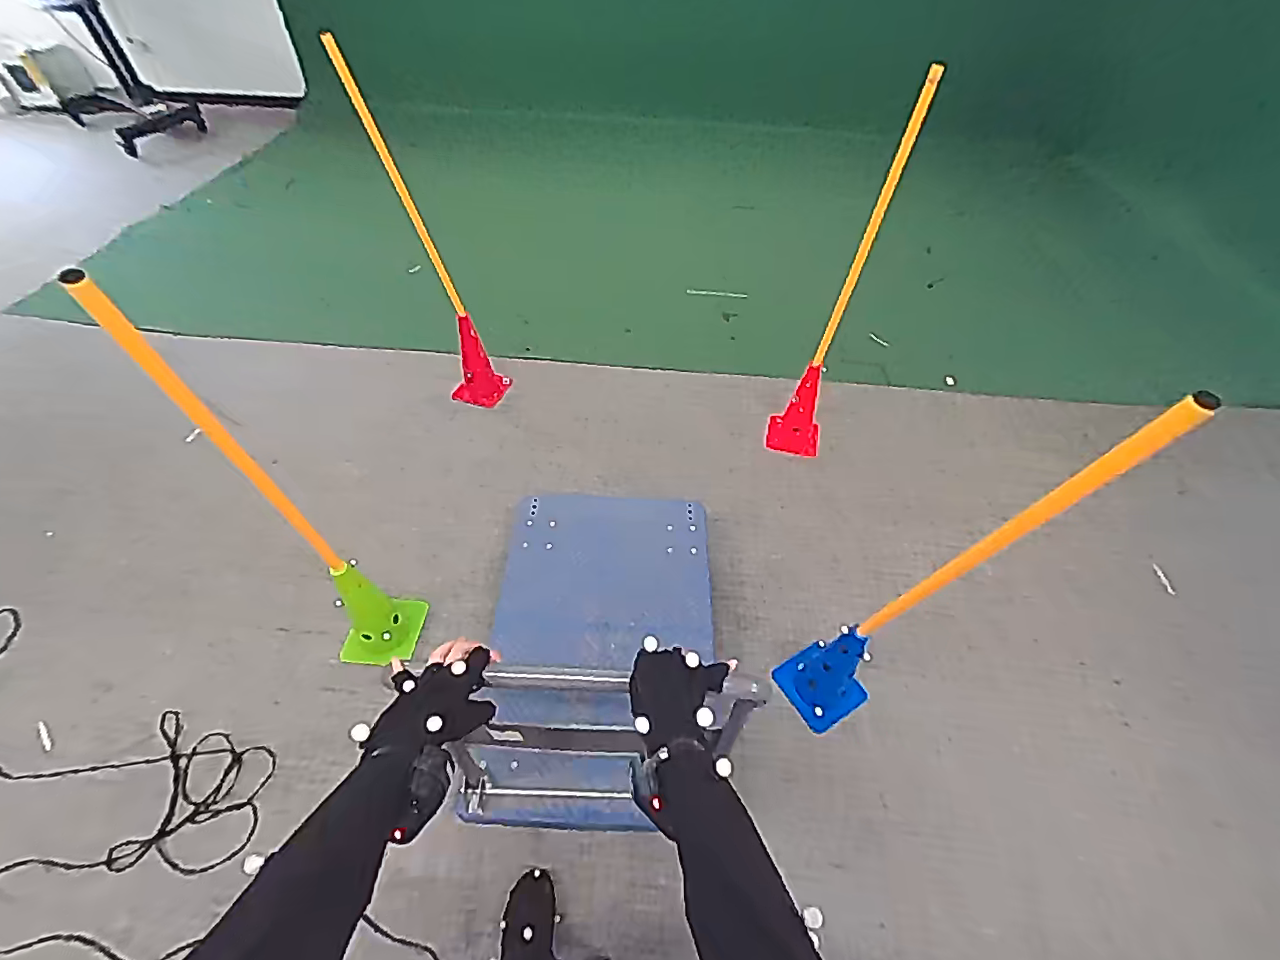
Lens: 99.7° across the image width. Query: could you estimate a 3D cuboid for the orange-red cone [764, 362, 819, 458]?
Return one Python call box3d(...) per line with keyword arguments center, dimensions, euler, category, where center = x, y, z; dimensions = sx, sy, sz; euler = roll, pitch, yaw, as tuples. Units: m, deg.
box3d(center=(0.601, -0.282, 2.005), dimensions=(0.198, 0.360, 0.199), euler=(13, 51, 10), category="orange-red cone")
